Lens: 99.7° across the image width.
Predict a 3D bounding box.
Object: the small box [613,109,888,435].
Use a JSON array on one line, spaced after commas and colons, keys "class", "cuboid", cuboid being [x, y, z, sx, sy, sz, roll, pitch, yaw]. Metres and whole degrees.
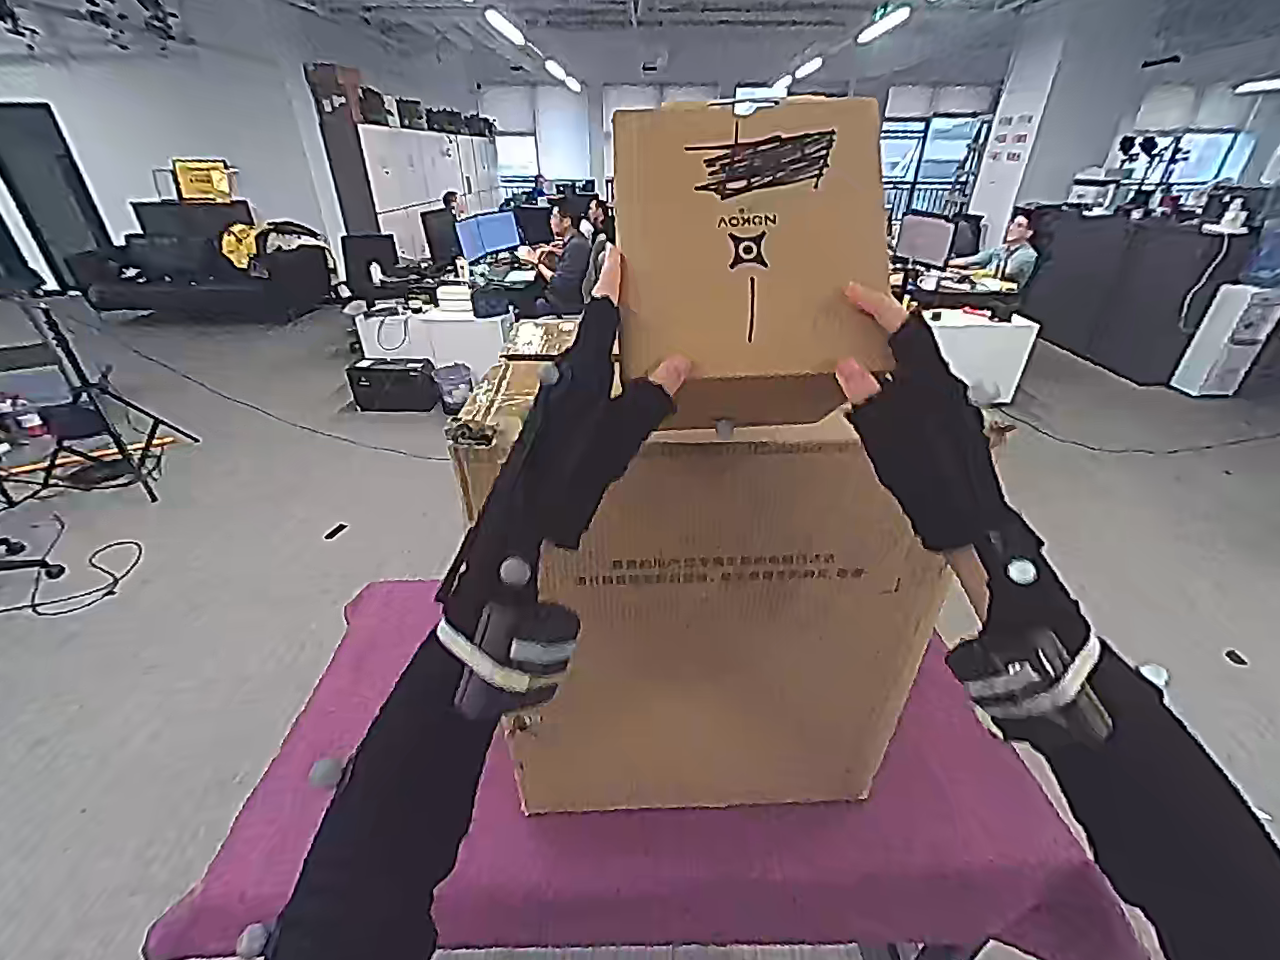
[{"class": "small box", "cuboid": [0.068, -0.139, 0.416, 0.168, 0.179, 0.176, -3, -6, 3]}]
